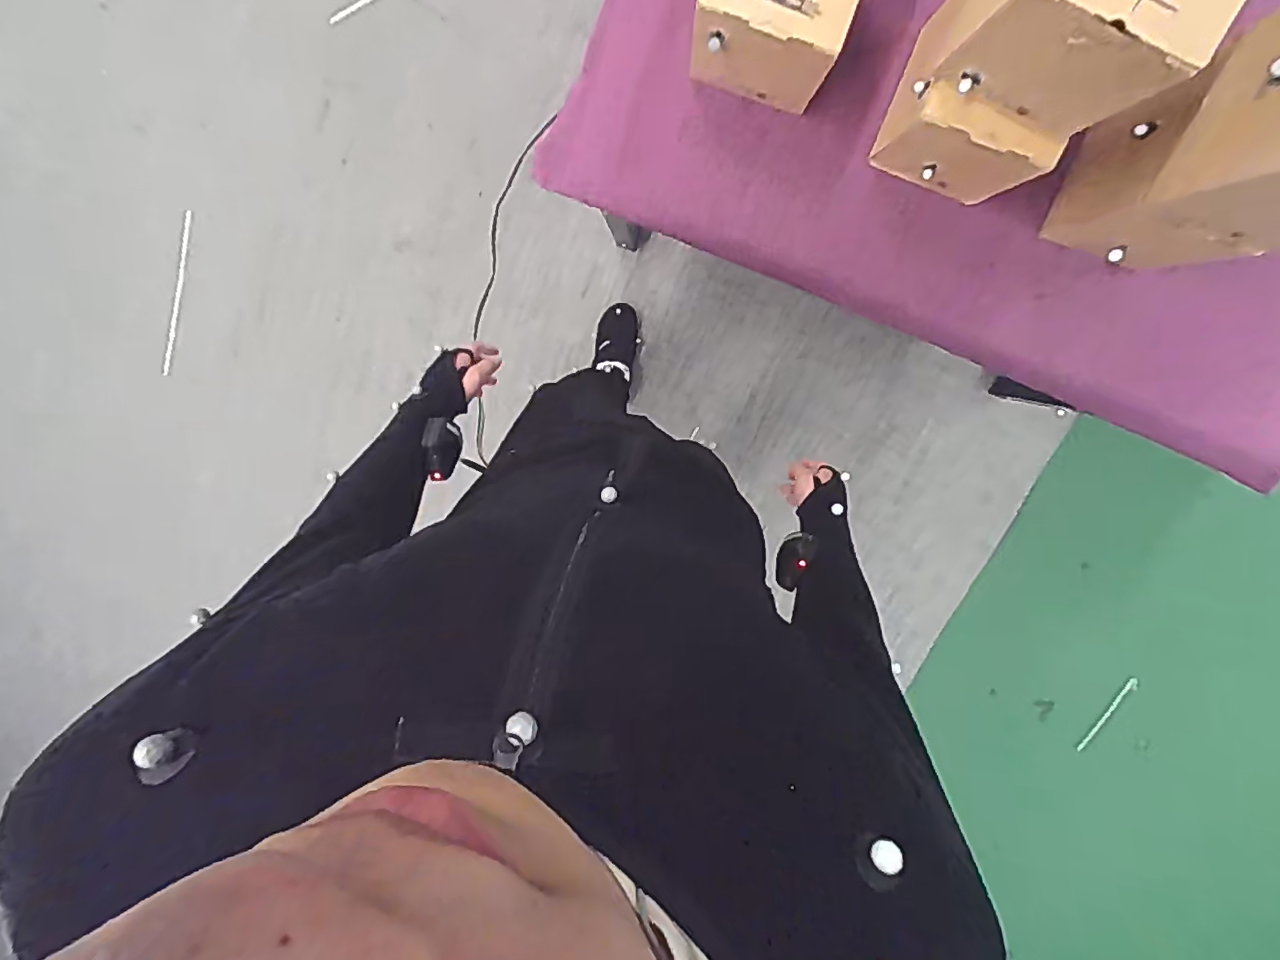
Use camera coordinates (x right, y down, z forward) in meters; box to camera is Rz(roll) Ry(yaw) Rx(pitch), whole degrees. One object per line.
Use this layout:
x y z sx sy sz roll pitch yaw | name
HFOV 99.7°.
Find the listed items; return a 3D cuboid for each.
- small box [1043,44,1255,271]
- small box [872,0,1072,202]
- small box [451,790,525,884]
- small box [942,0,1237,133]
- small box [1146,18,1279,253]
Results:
0.666 -0.384 0.681 0.168 0.176 0.179 18 104 -3 | small box
0.417 -0.475 0.665 0.168 0.176 0.179 19 105 -4 | small box
-0.501 1.192 1.812 0.168 0.176 0.179 25 104 -6 | small box
0.418 -0.463 0.498 0.168 0.176 0.179 23 104 -5 | small box
0.663 -0.343 0.522 0.168 0.176 0.179 17 103 -2 | small box
